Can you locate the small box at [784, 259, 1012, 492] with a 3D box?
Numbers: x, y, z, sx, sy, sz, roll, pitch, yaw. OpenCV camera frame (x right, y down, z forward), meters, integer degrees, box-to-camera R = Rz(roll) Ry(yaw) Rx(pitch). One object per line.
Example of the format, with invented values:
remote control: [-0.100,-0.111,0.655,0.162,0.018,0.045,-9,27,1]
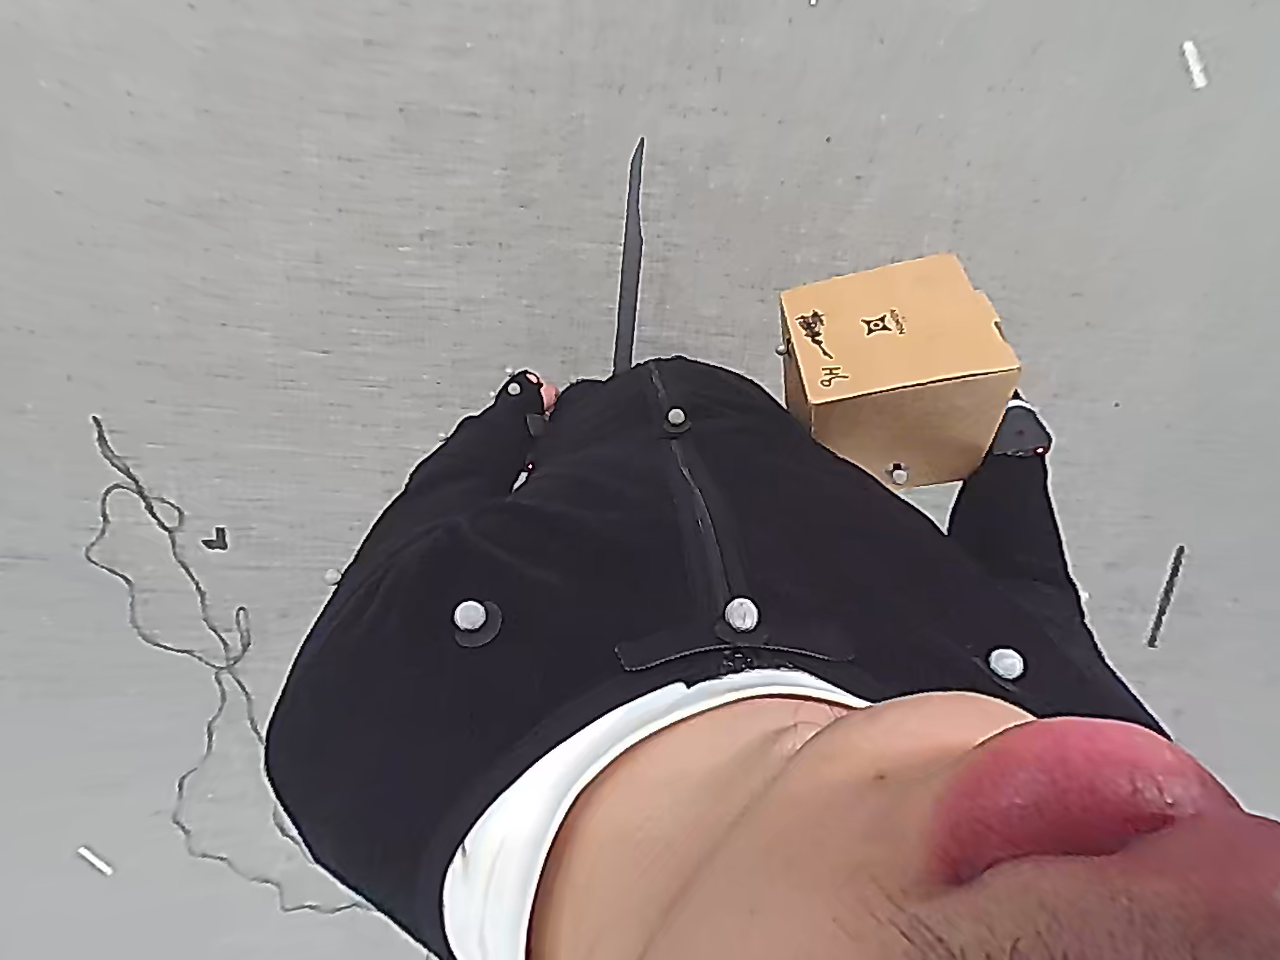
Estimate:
small box: [0.259,-0.106,0.595,0.179,0.168,0.176,-9,143,10]
